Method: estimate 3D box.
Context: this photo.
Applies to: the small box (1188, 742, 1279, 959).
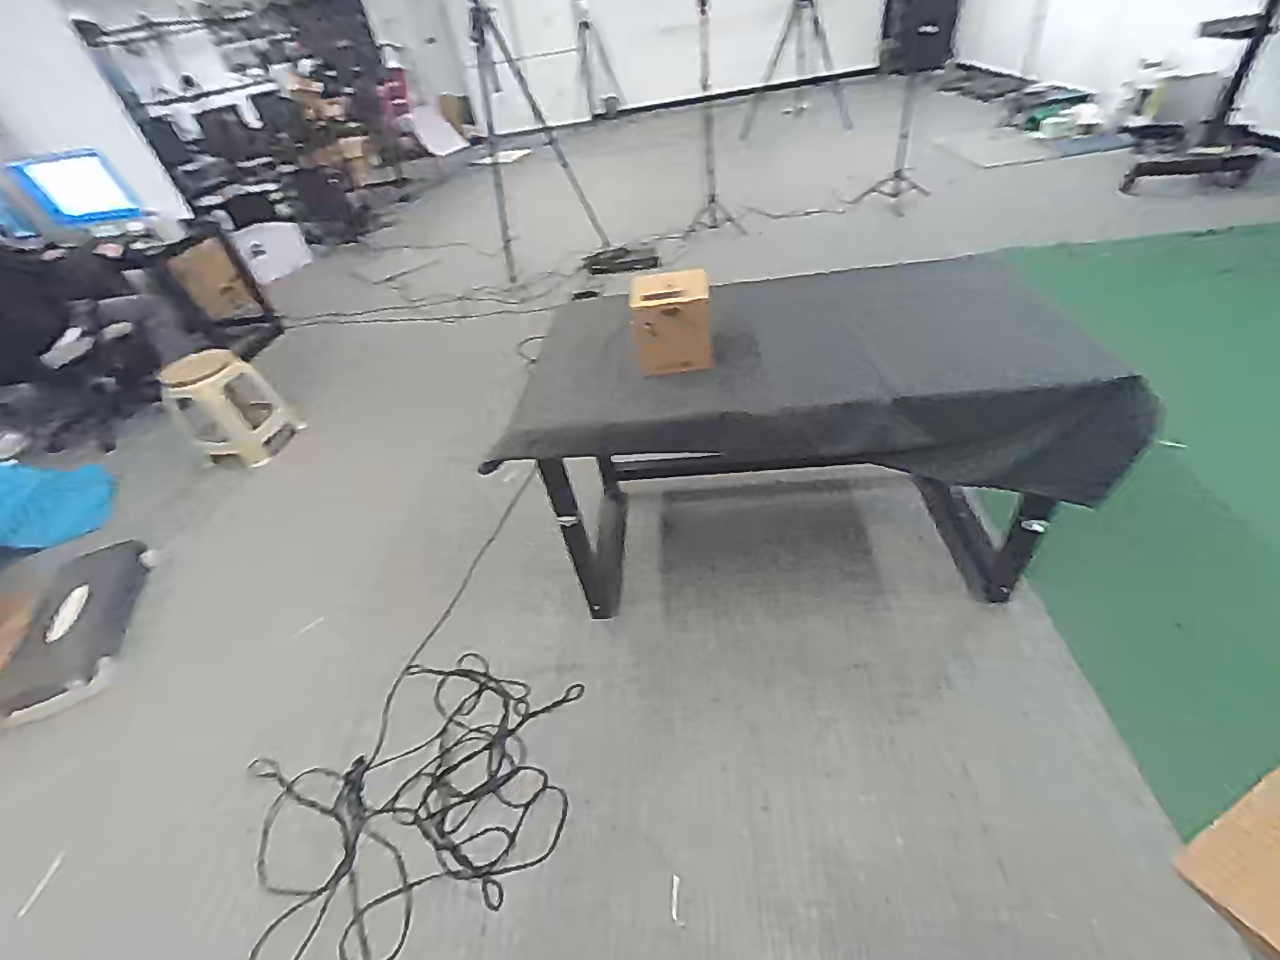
[{"bbox_3d":[0.457,0.245,0.276,0.168,0.176,0.179,44,92,1],"label":"small box"}]
